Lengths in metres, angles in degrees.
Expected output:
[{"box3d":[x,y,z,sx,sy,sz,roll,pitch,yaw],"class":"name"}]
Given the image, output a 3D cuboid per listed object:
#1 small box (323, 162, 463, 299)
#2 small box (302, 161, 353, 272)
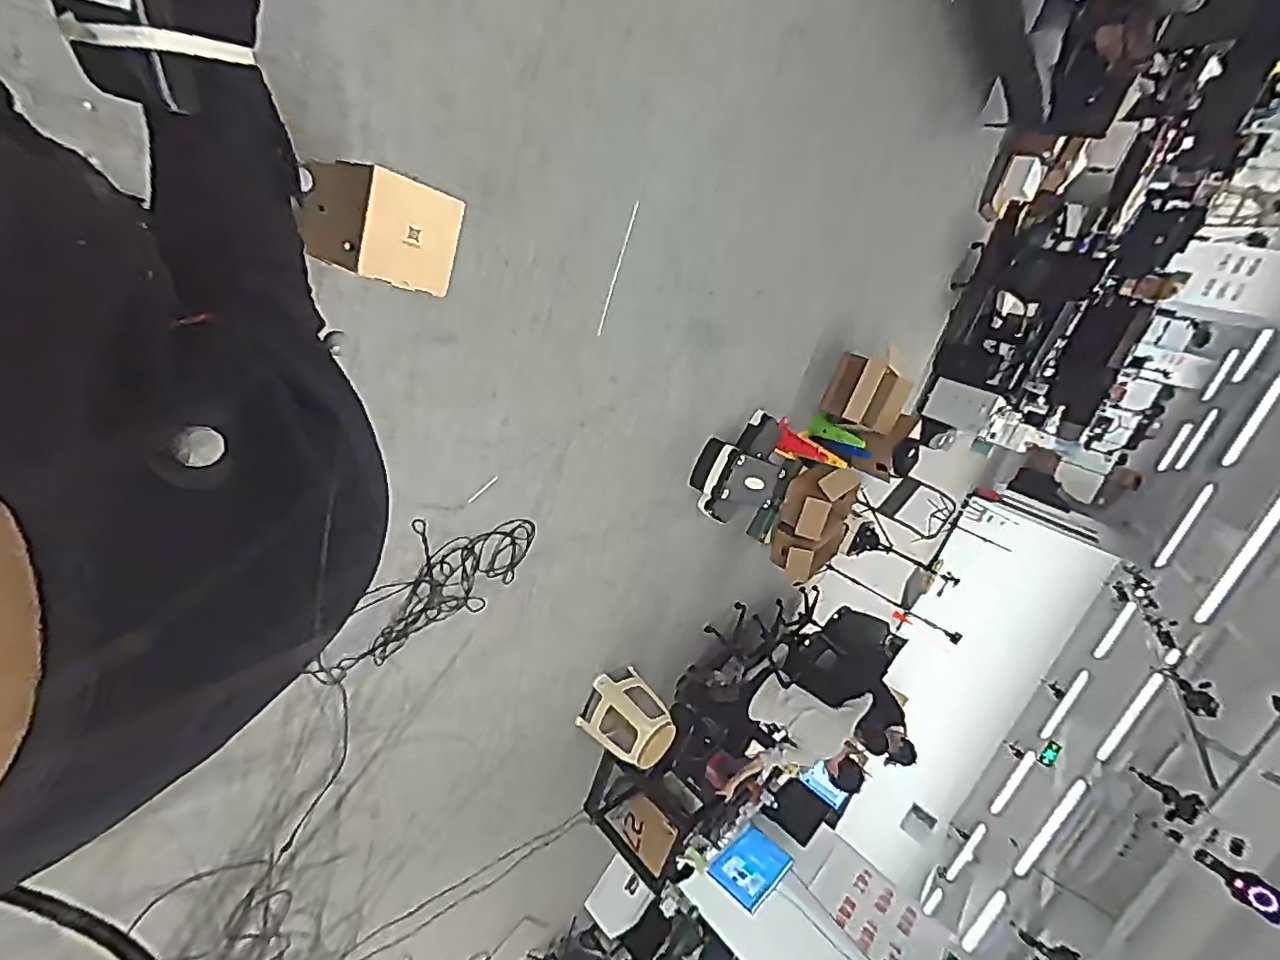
[{"box3d":[-0.453,-0.453,0.982,0.168,0.176,0.179,-1,116,-50],"class":"small box"},{"box3d":[-0.560,-0.515,1.088,0.168,0.176,0.179,-5,117,-49],"class":"small box"}]
